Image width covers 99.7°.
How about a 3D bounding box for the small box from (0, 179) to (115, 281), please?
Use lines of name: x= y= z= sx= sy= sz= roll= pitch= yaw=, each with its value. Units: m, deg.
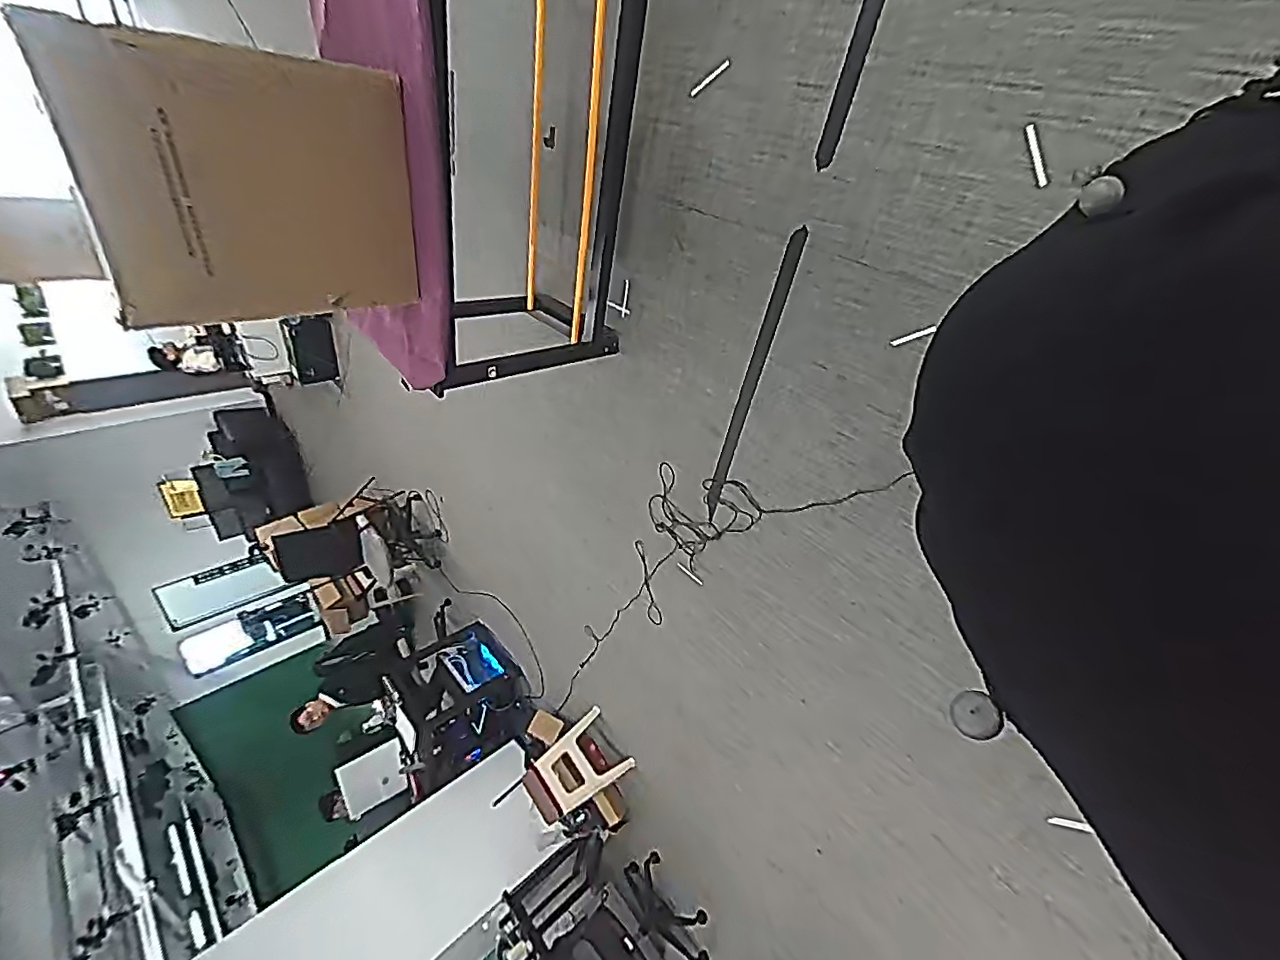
small box: x=-1.272 y=-0.538 z=1.160 sx=0.179 sy=0.176 sz=0.168 roll=35 pitch=132 yaw=33
